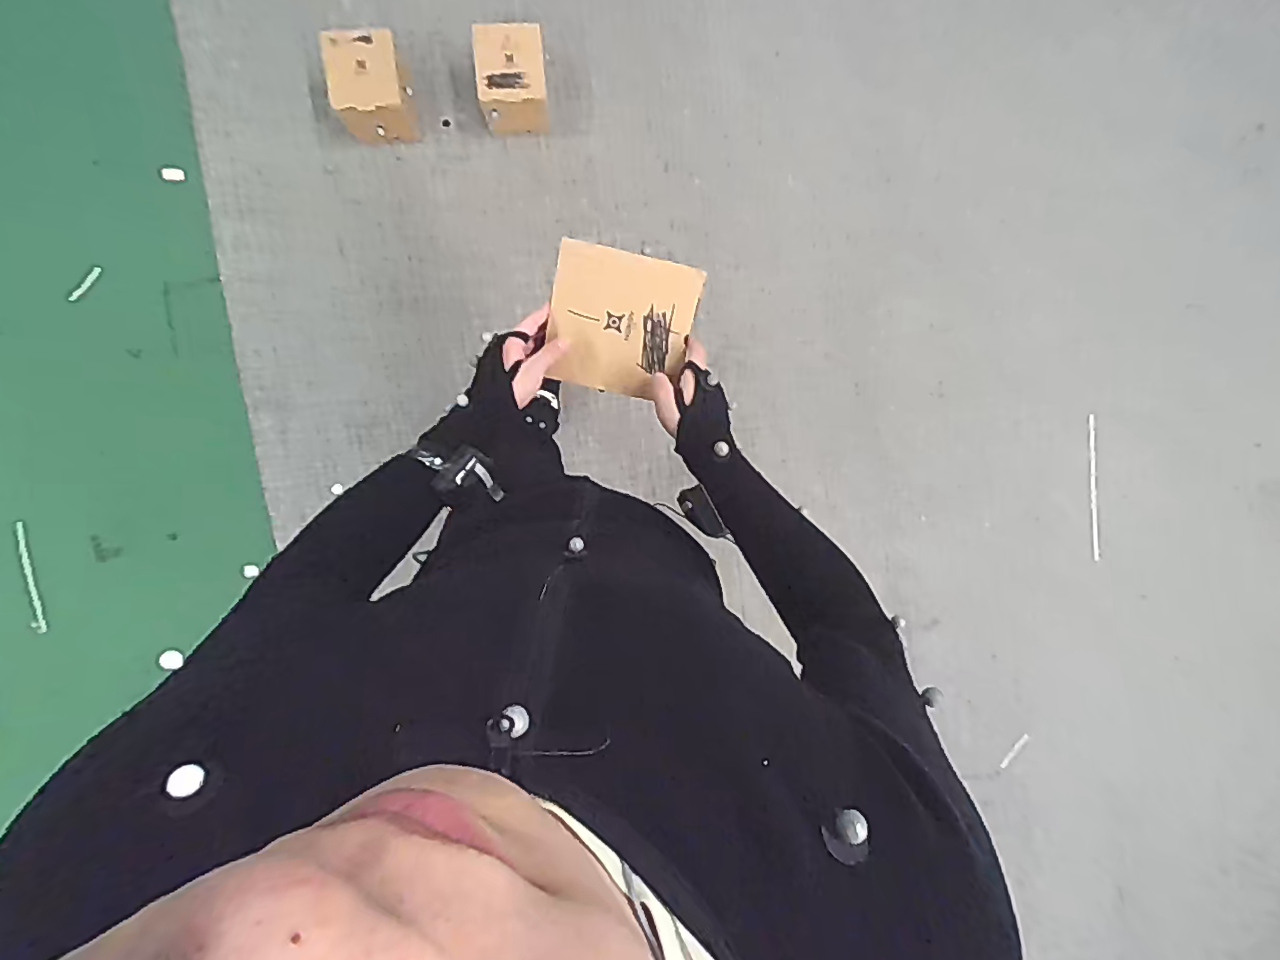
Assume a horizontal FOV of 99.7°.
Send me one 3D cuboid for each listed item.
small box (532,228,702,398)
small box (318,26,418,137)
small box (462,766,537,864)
[{"bbox_3d":[-0.031,-0.220,0.716,0.179,0.176,0.168,12,108,-4],"label":"small box"},{"bbox_3d":[-0.672,-0.986,1.356,0.168,0.176,0.179,-5,97,-4],"label":"small box"},{"bbox_3d":[-0.405,0.979,1.596,0.179,0.176,0.168,-11,97,-4],"label":"small box"}]
